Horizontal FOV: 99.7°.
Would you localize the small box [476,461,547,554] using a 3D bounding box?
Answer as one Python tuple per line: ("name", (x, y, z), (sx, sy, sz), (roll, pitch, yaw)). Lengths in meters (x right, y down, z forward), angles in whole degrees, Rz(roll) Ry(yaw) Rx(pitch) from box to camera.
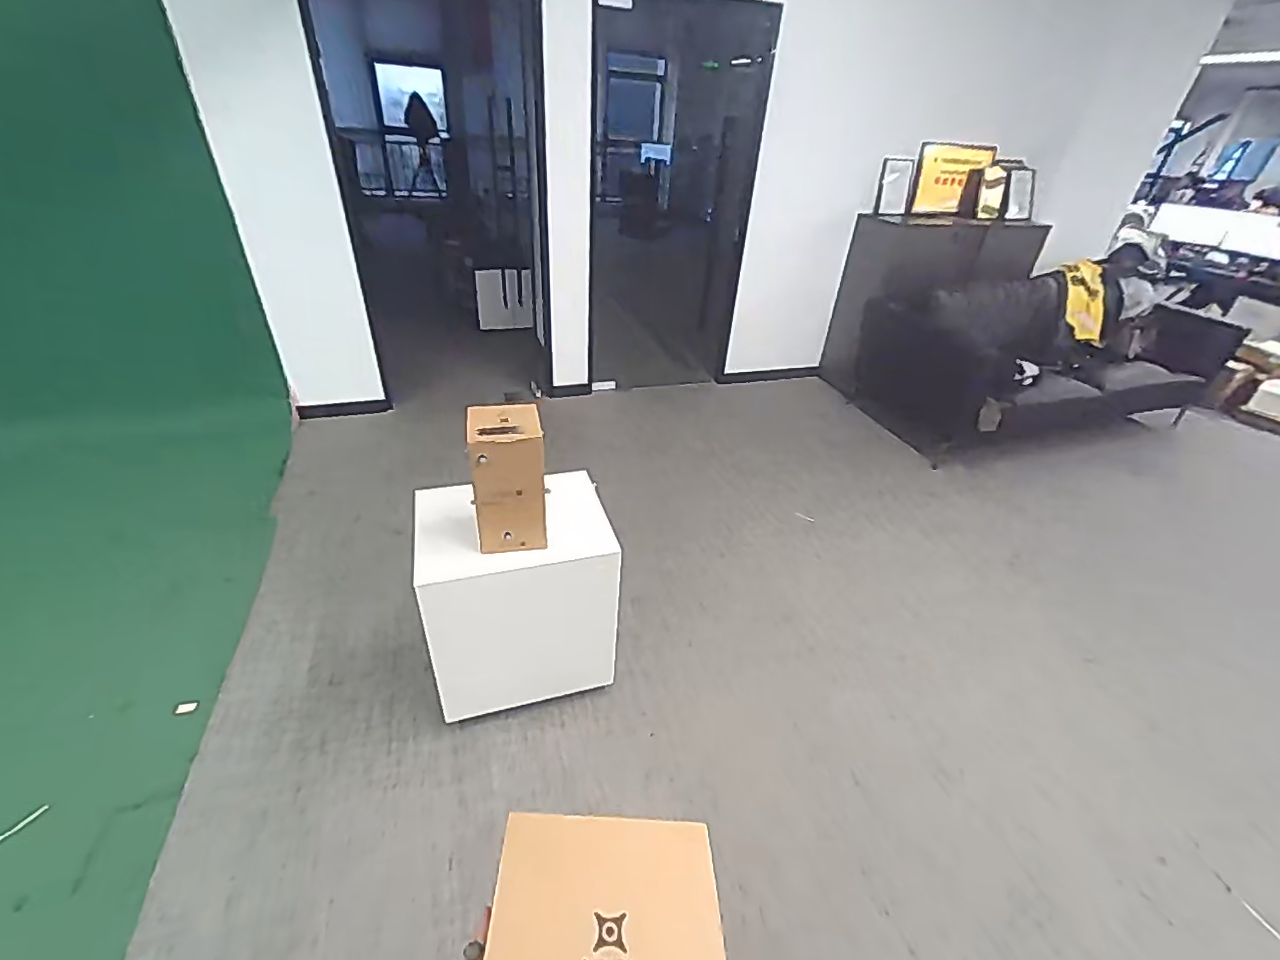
("small box", (-0.328, 0.068, 1.395), (0.168, 0.176, 0.179), (-4, 34, -12))
